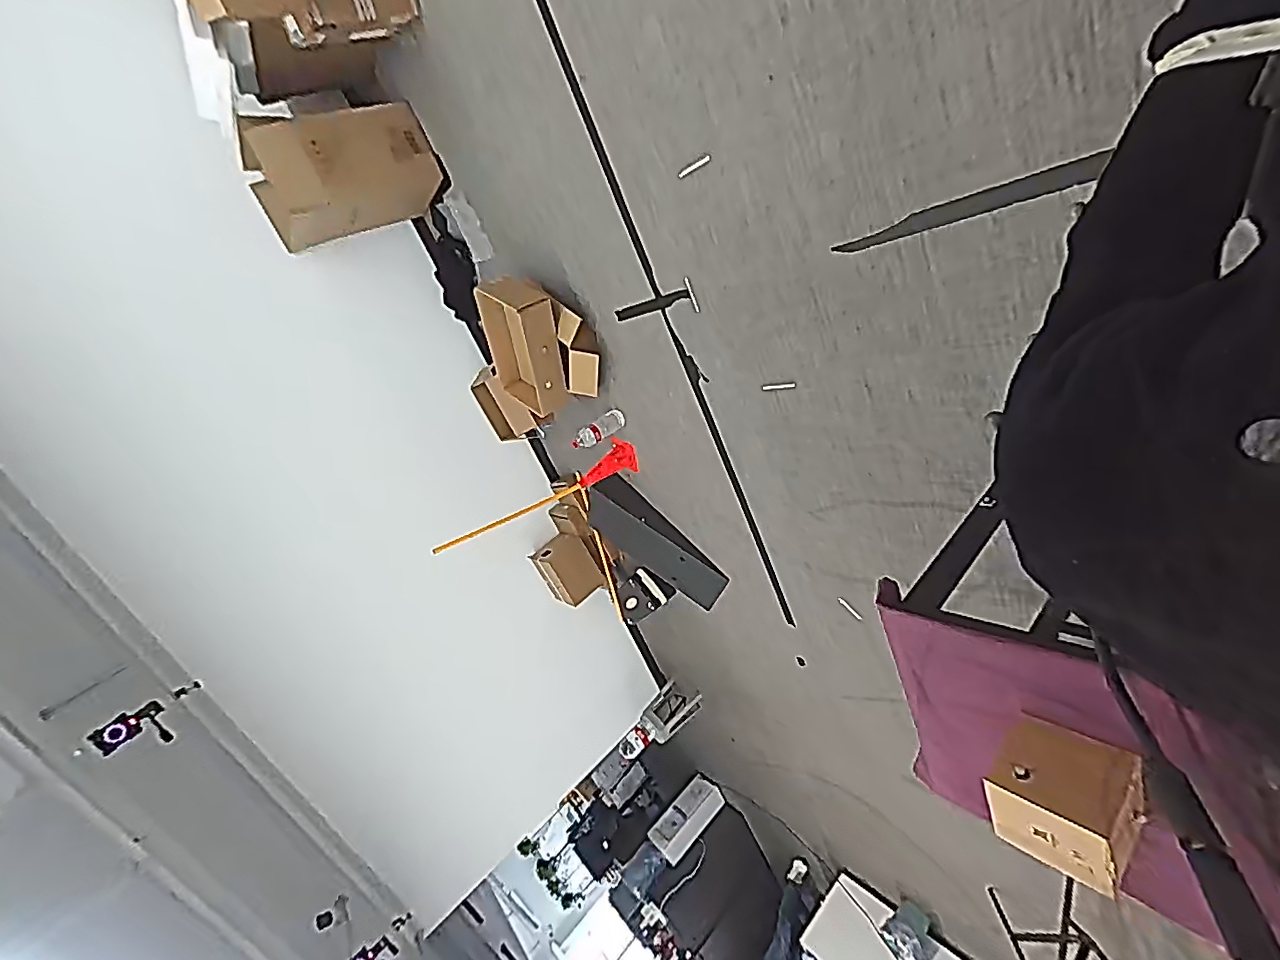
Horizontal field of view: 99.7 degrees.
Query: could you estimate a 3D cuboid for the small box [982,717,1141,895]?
[{"bbox_3d":[0.736,0.551,0.945,0.179,0.176,0.168,8,129,53],"label":"small box"}]
